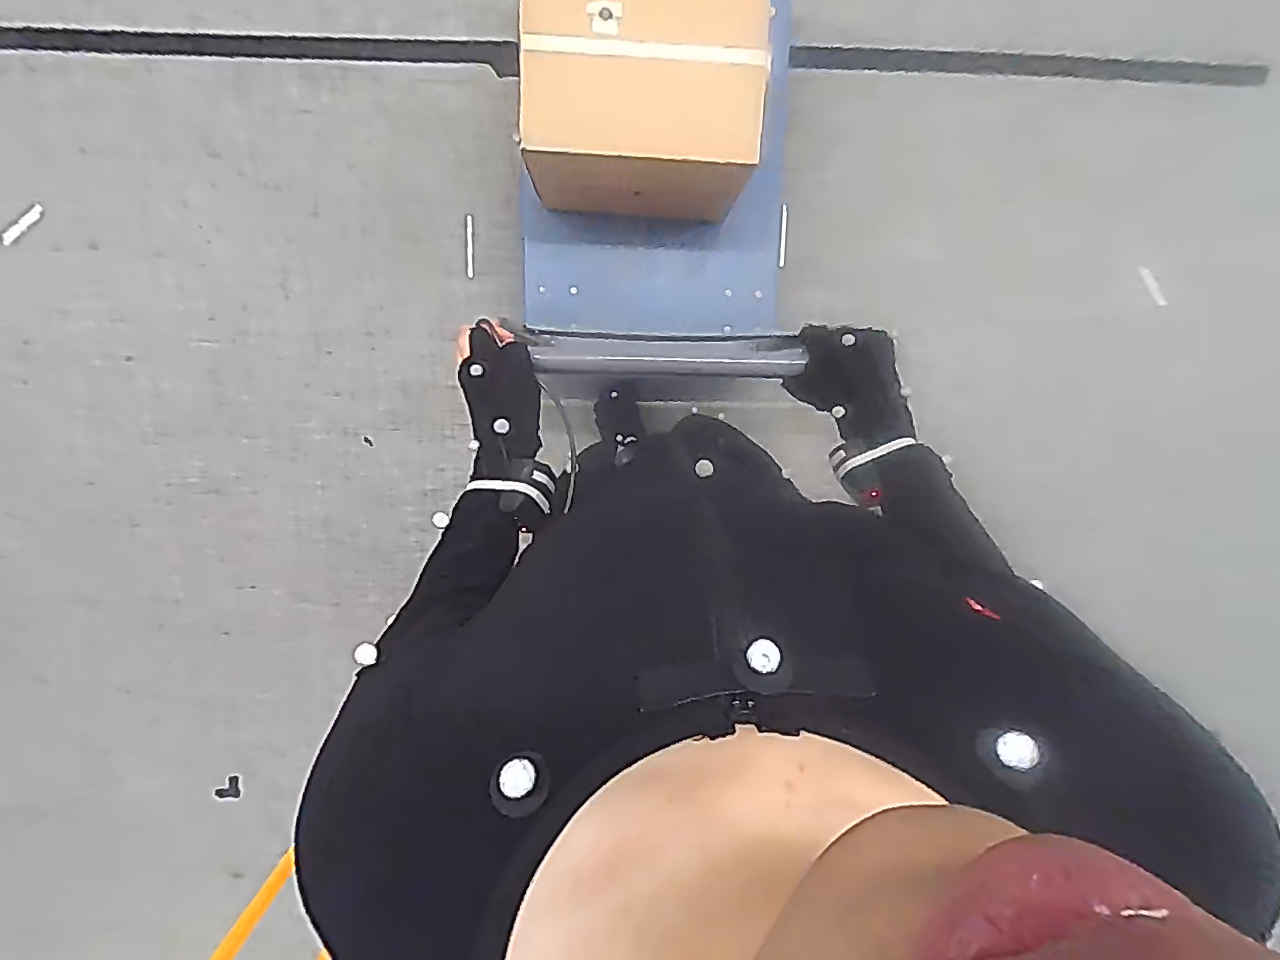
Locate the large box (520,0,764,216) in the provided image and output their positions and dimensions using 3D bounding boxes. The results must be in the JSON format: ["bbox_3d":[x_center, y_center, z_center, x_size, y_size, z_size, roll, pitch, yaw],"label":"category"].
[{"bbox_3d":[-0.001,-0.718,1.036,0.408,0.320,0.320,2,99,-2],"label":"large box"}]
